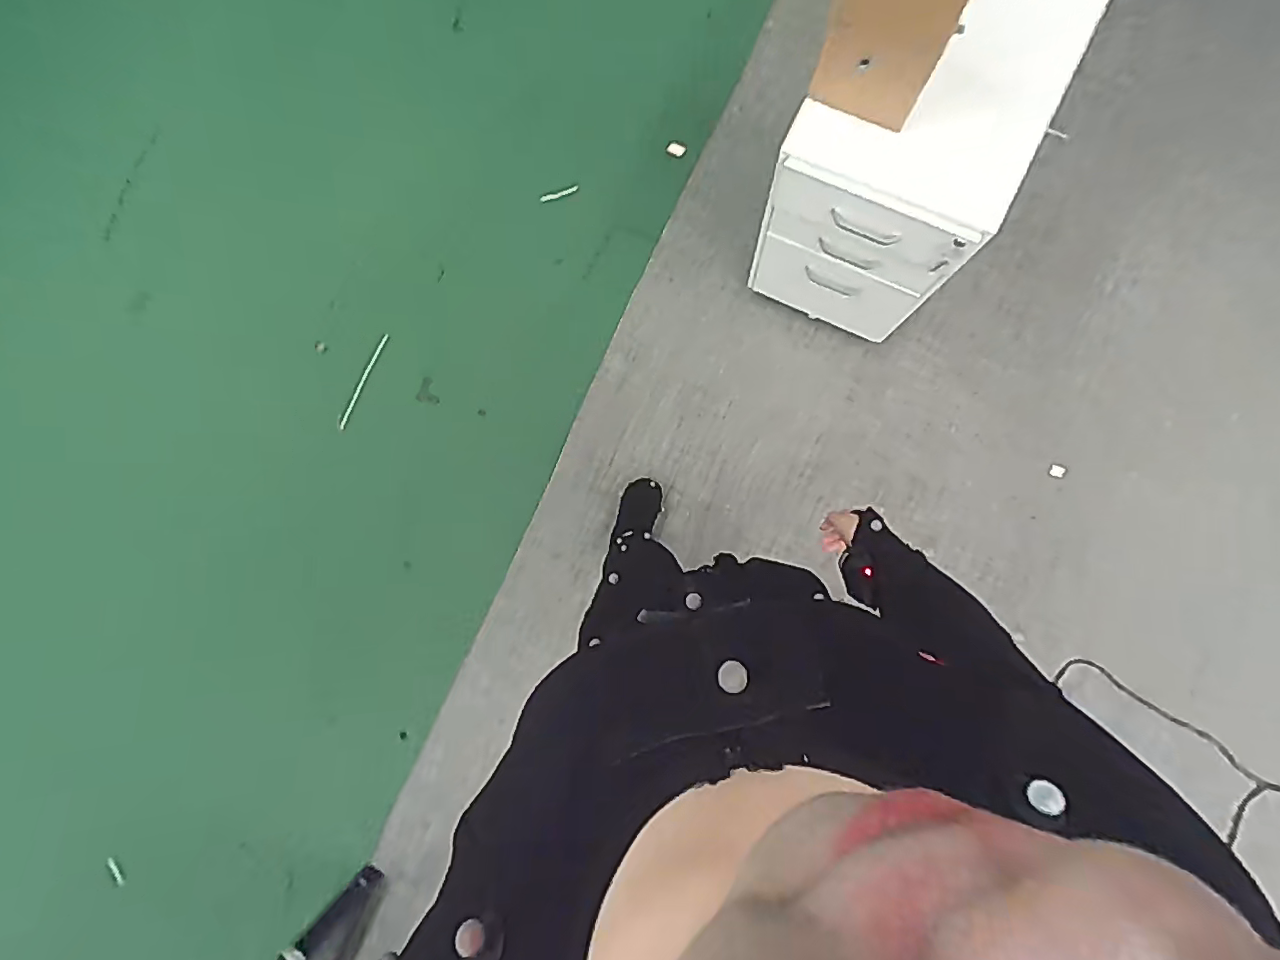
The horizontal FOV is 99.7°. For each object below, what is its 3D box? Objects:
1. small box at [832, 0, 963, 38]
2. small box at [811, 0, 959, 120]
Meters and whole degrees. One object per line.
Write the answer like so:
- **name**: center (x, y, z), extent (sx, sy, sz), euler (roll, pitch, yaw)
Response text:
- **small box**: center (0.376, -0.734, 0.703), extent (0.179, 0.176, 0.168), euler (25, 88, 5)
- **small box**: center (0.397, -0.726, 0.865), extent (0.179, 0.176, 0.168), euler (25, 89, 6)
